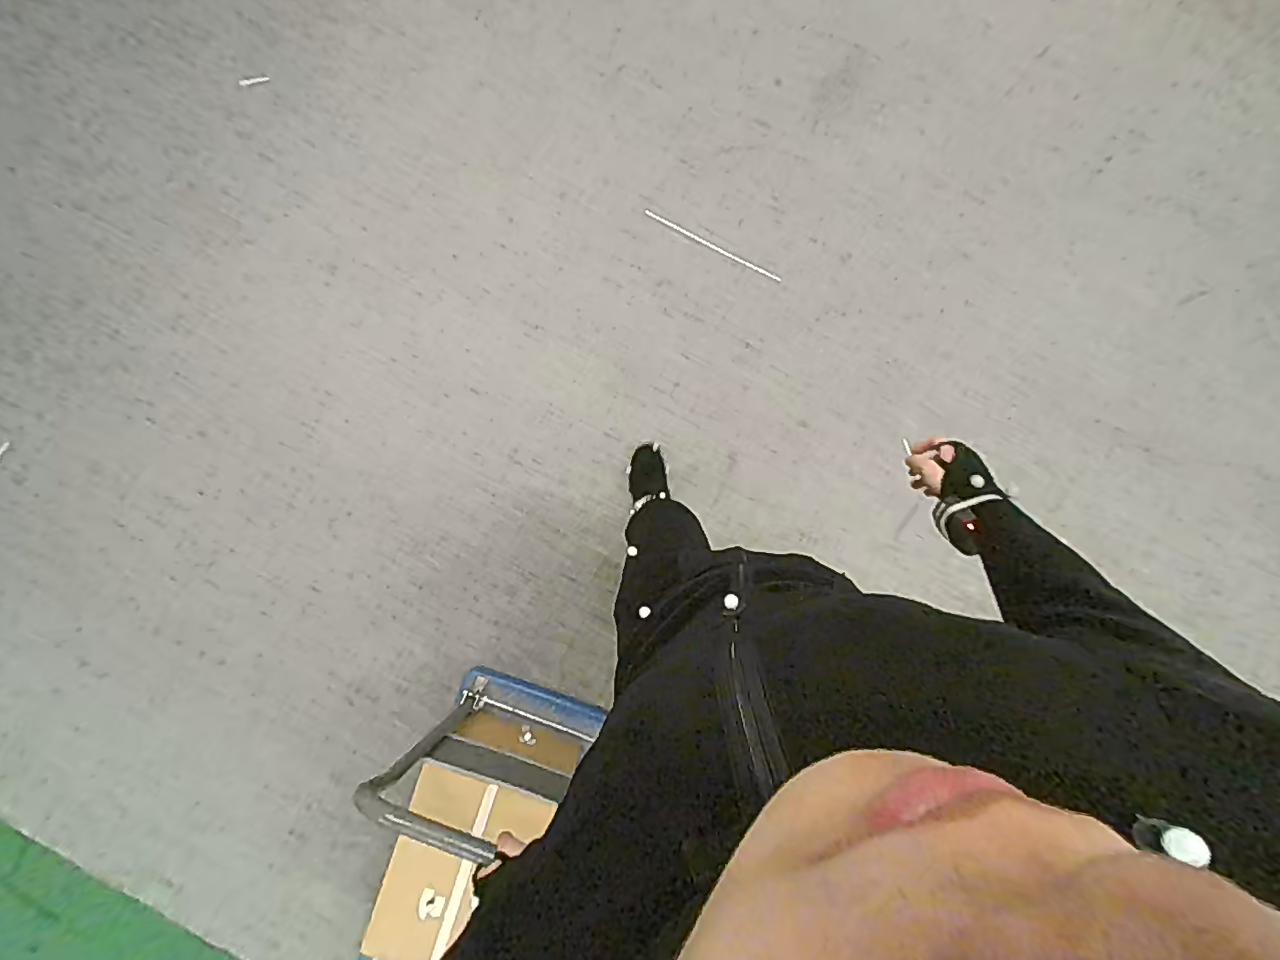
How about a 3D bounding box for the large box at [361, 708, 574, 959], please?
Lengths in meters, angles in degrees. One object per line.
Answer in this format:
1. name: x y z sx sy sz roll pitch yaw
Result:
1. large box: -0.364 0.810 1.246 0.320 0.320 0.408 18 86 1
